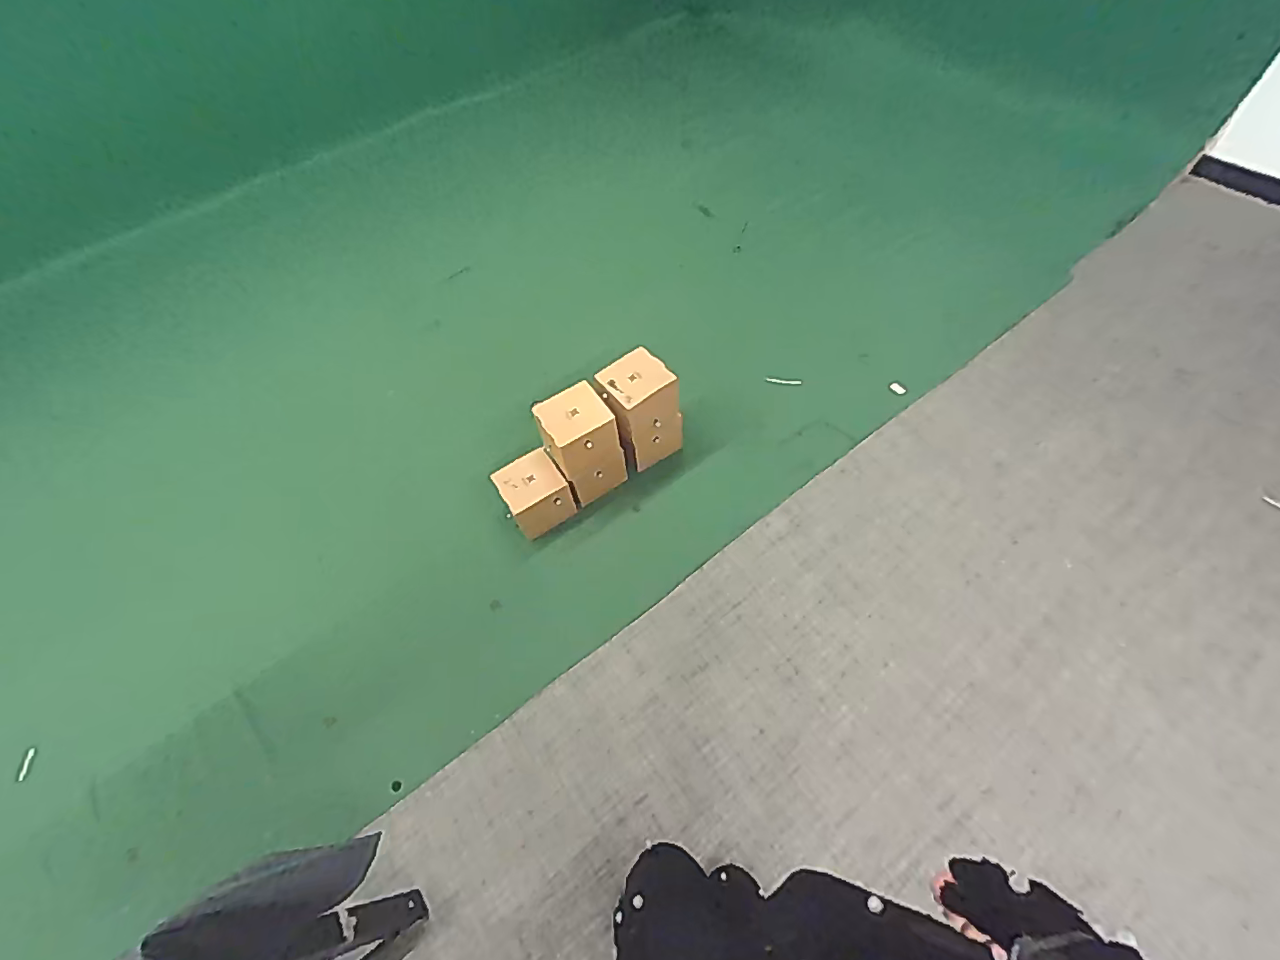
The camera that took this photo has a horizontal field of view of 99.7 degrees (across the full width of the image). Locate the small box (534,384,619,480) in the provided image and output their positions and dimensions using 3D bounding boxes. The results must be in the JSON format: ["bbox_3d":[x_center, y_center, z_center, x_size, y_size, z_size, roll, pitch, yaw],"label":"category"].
[{"bbox_3d":[-0.171,-0.133,1.529,0.179,0.176,0.168,-31,61,-12],"label":"small box"}]

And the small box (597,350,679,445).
[{"bbox_3d":[-0.005,-0.237,1.576,0.179,0.176,0.168,-34,61,-16],"label":"small box"}]
